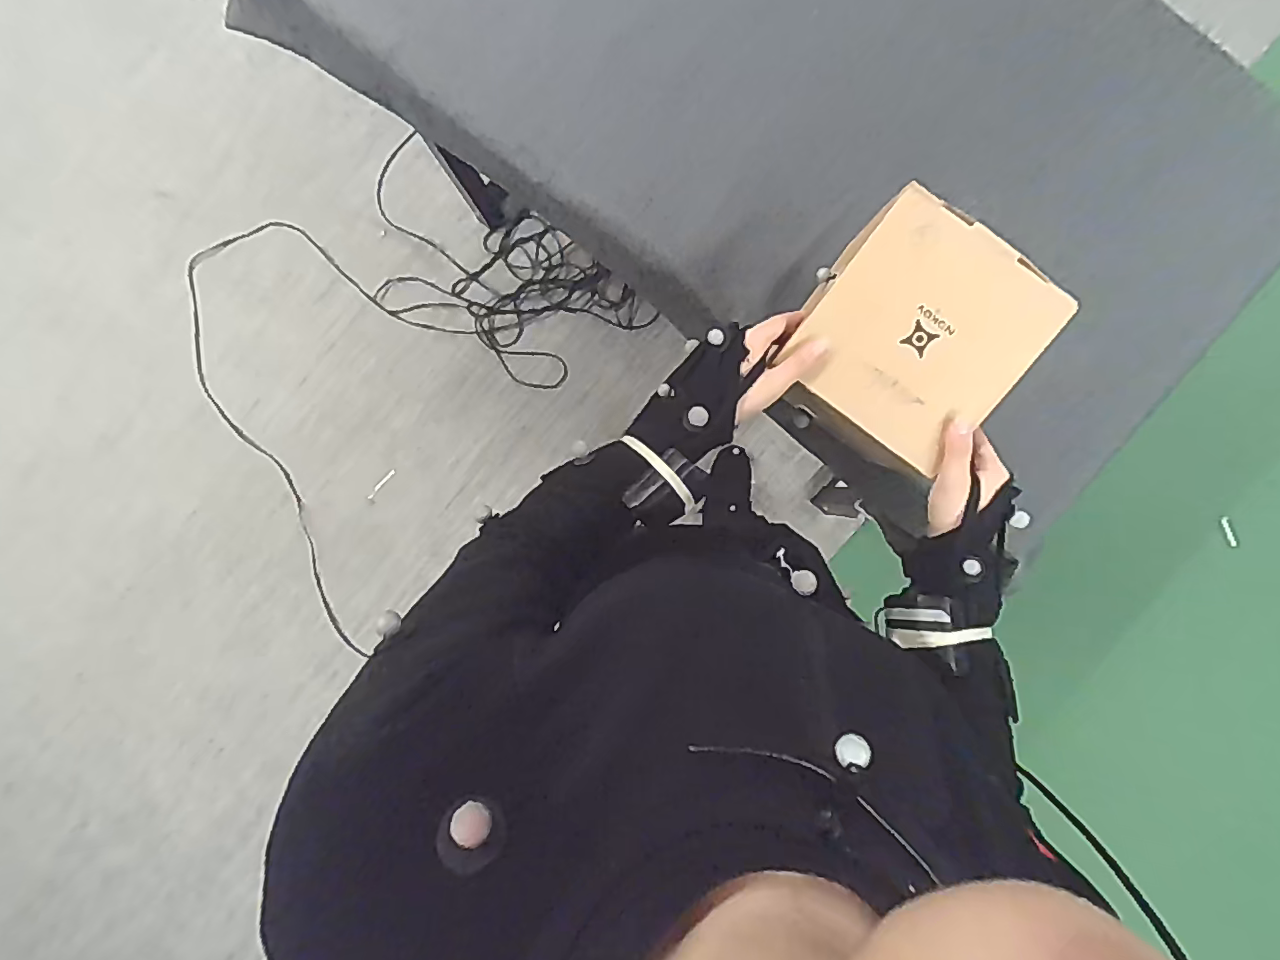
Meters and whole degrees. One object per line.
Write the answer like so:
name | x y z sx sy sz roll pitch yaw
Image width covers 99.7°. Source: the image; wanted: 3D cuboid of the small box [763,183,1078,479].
small box | 0.234 -0.126 0.510 0.168 0.176 0.179 36 100 1
